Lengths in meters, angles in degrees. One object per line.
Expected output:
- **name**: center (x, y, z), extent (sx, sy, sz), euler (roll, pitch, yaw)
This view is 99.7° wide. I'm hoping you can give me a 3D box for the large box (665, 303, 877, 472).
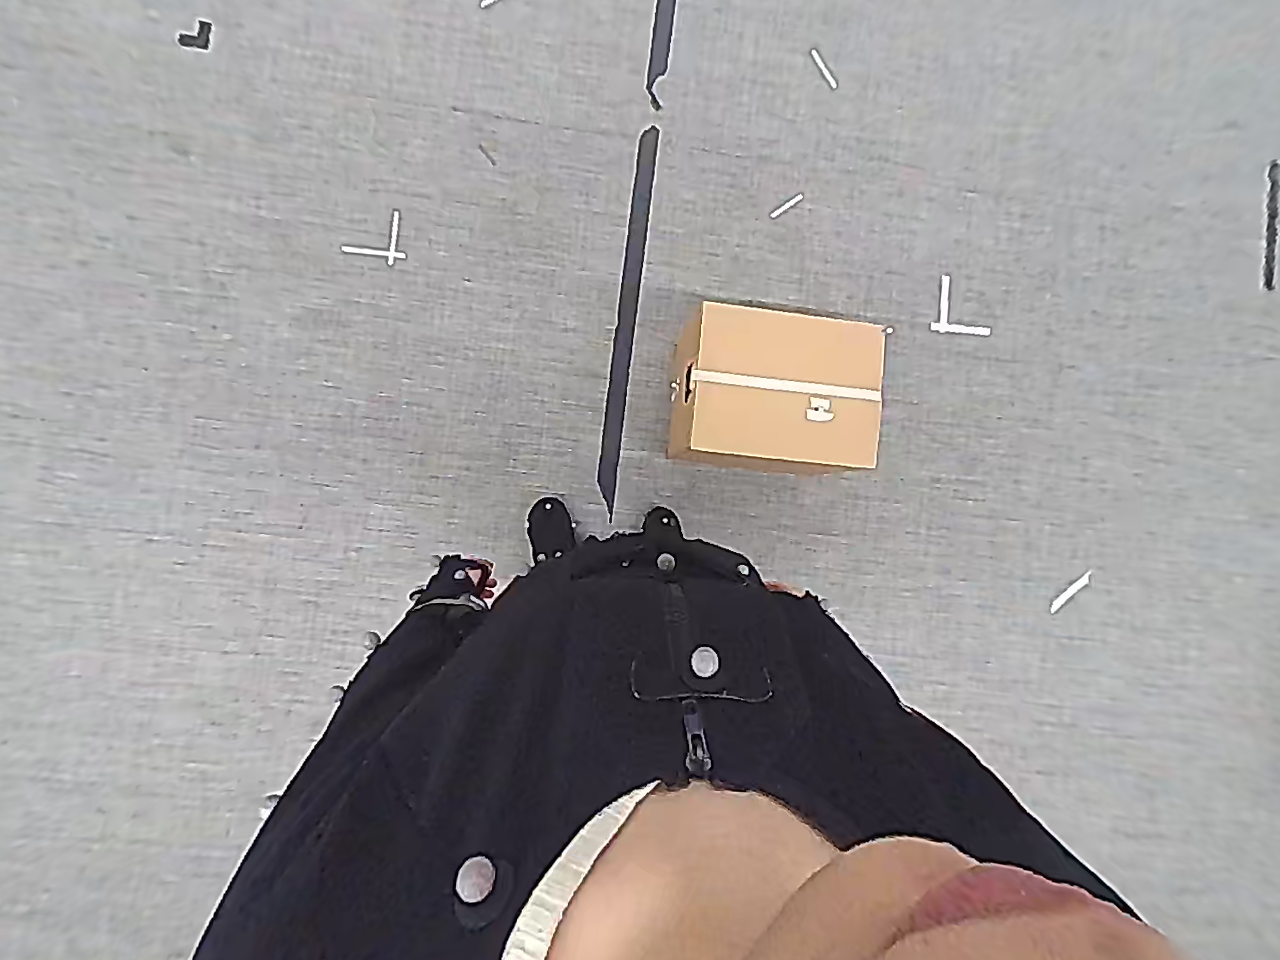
- **large box**: center (0.286, -0.195, 1.283), extent (0.408, 0.320, 0.320), euler (6, 88, -7)
